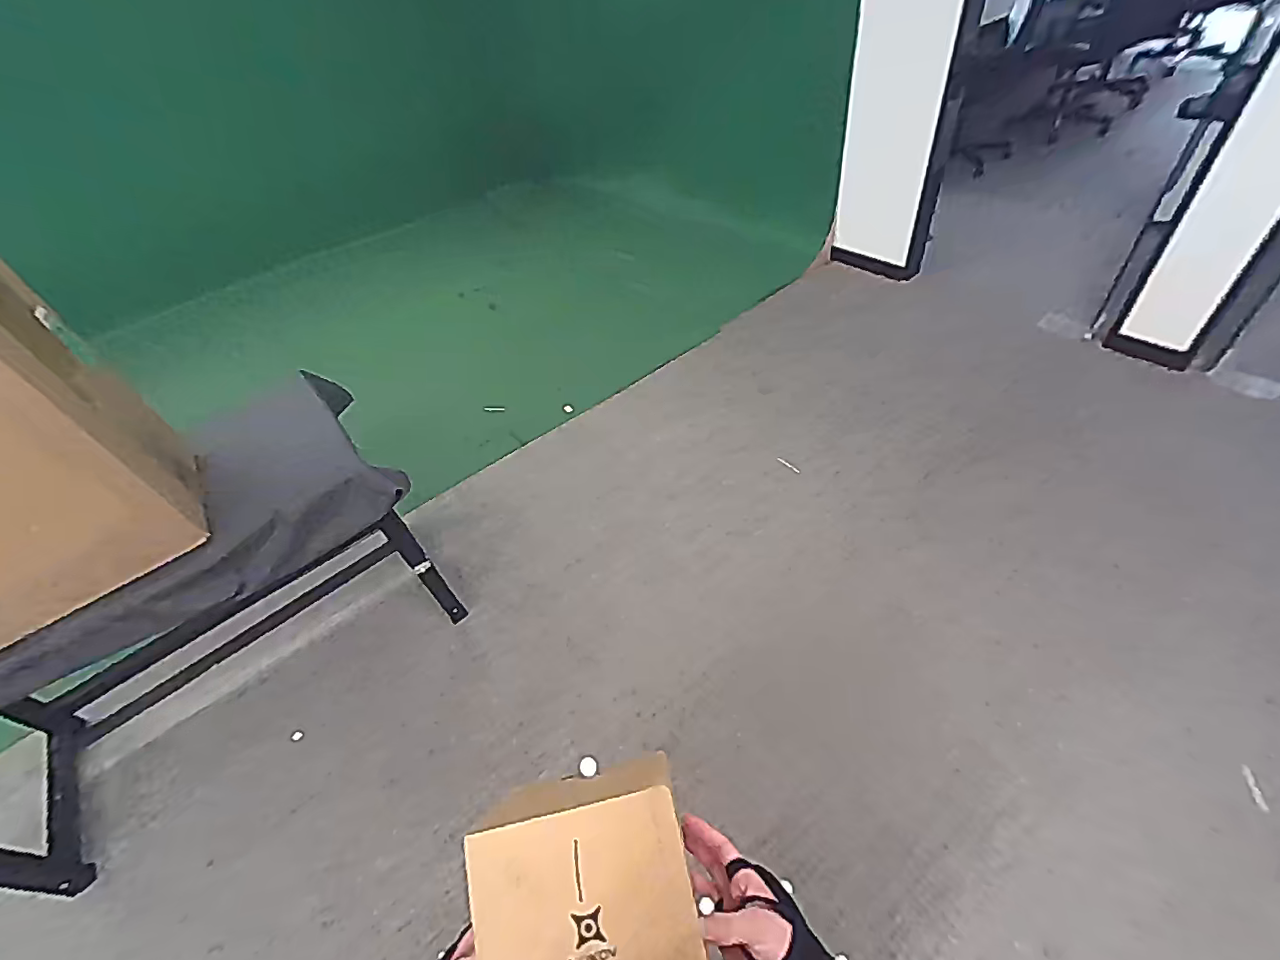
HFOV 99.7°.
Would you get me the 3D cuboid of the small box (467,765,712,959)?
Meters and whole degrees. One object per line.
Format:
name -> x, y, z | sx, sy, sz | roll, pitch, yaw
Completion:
small box -> -0.032, 0.368, 0.463 | 0.168, 0.176, 0.179 | -13, 70, -4
